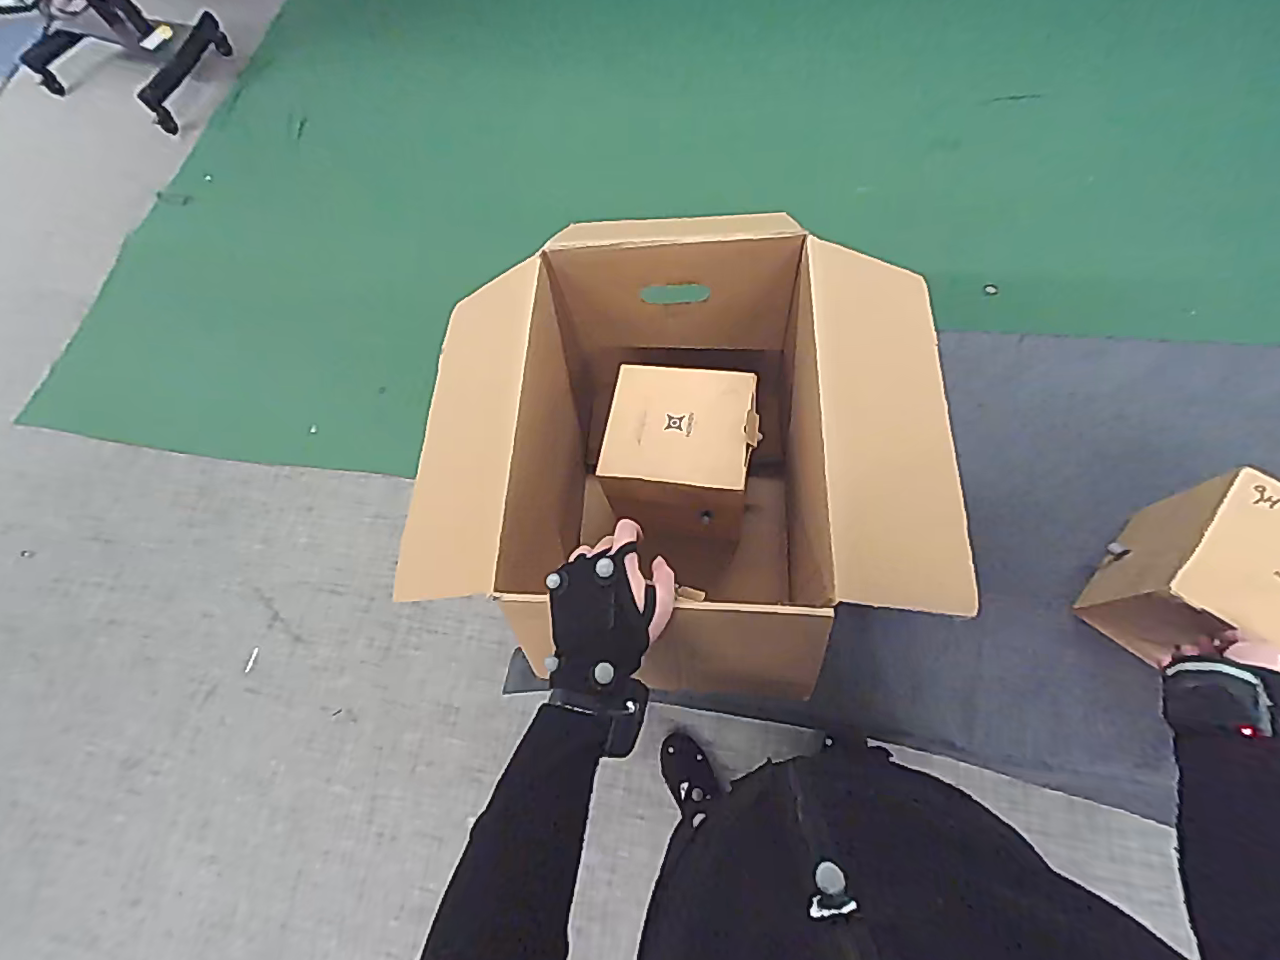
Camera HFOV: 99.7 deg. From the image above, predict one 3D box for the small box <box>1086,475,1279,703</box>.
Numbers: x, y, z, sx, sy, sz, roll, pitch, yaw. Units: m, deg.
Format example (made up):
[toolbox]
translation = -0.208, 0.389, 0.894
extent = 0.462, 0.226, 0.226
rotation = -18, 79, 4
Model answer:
[small box]
translation = 0.662, 0.132, 0.610
extent = 0.168, 0.176, 0.179
rotation = 39, 79, 21
